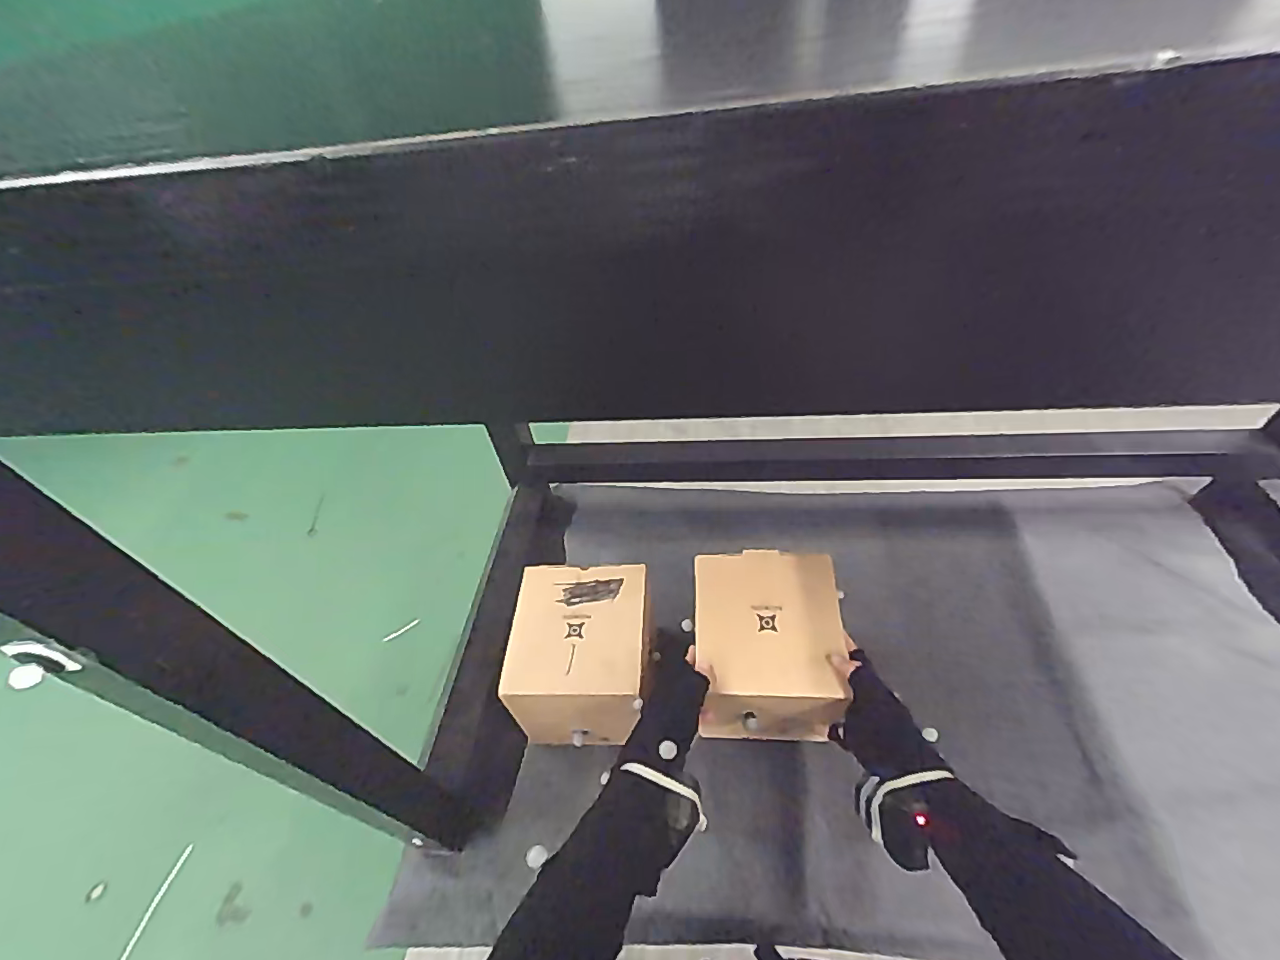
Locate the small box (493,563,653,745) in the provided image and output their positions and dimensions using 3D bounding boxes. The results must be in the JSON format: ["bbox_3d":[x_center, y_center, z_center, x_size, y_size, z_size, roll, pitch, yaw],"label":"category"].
[{"bbox_3d":[-0.074,0.229,0.717,0.168,0.176,0.179,-2,46,8],"label":"small box"}]
